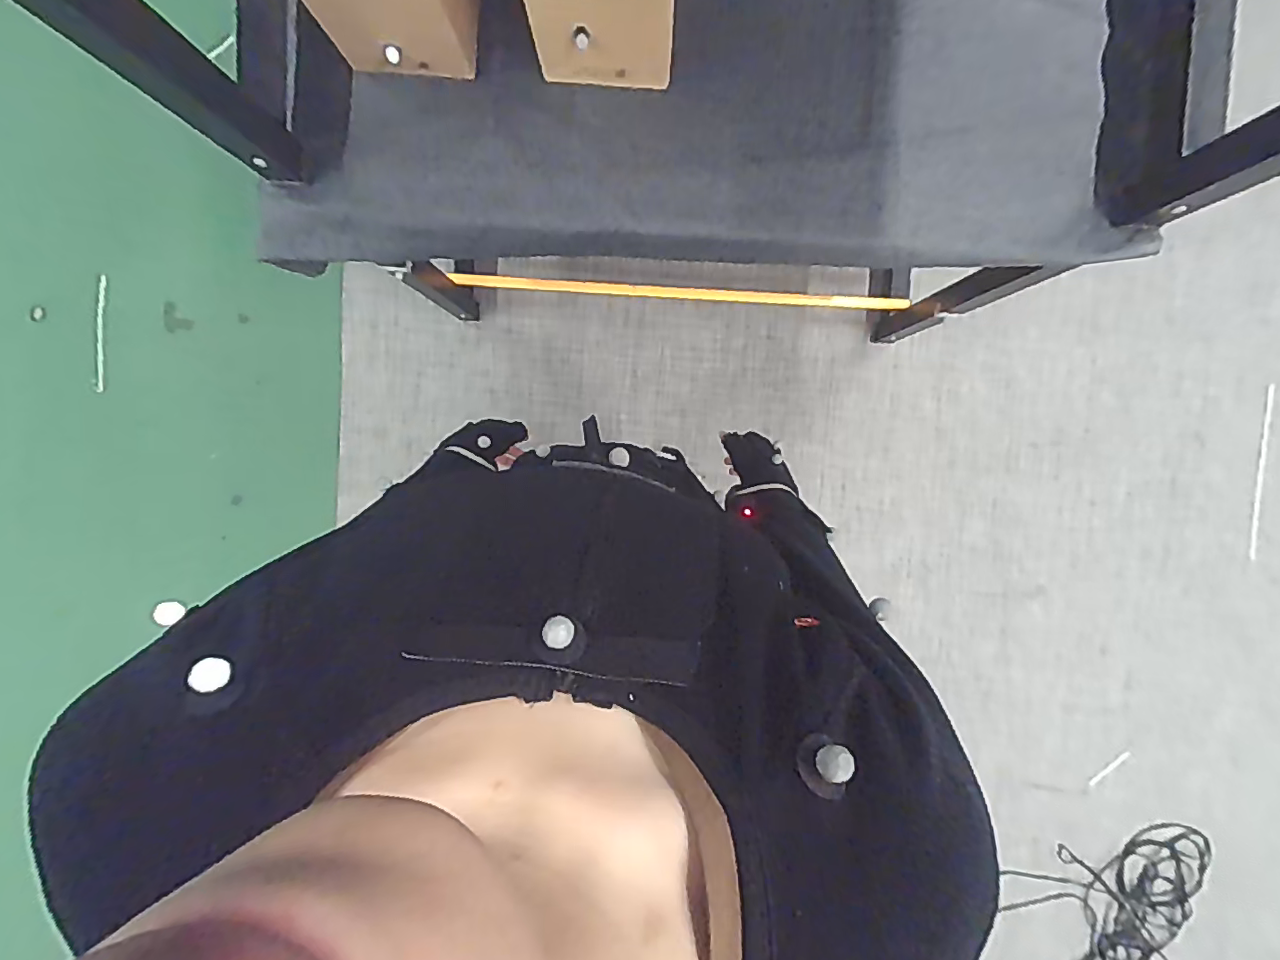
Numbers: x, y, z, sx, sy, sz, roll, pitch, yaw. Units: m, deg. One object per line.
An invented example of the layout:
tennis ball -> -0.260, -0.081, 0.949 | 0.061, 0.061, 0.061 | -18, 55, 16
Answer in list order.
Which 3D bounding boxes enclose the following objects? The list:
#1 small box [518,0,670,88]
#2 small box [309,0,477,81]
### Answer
small box -> -0.045, -0.606, 0.639 | 0.168, 0.176, 0.179 | 4, 93, 0
small box -> -0.298, -0.620, 0.635 | 0.168, 0.176, 0.179 | 4, 94, 0
